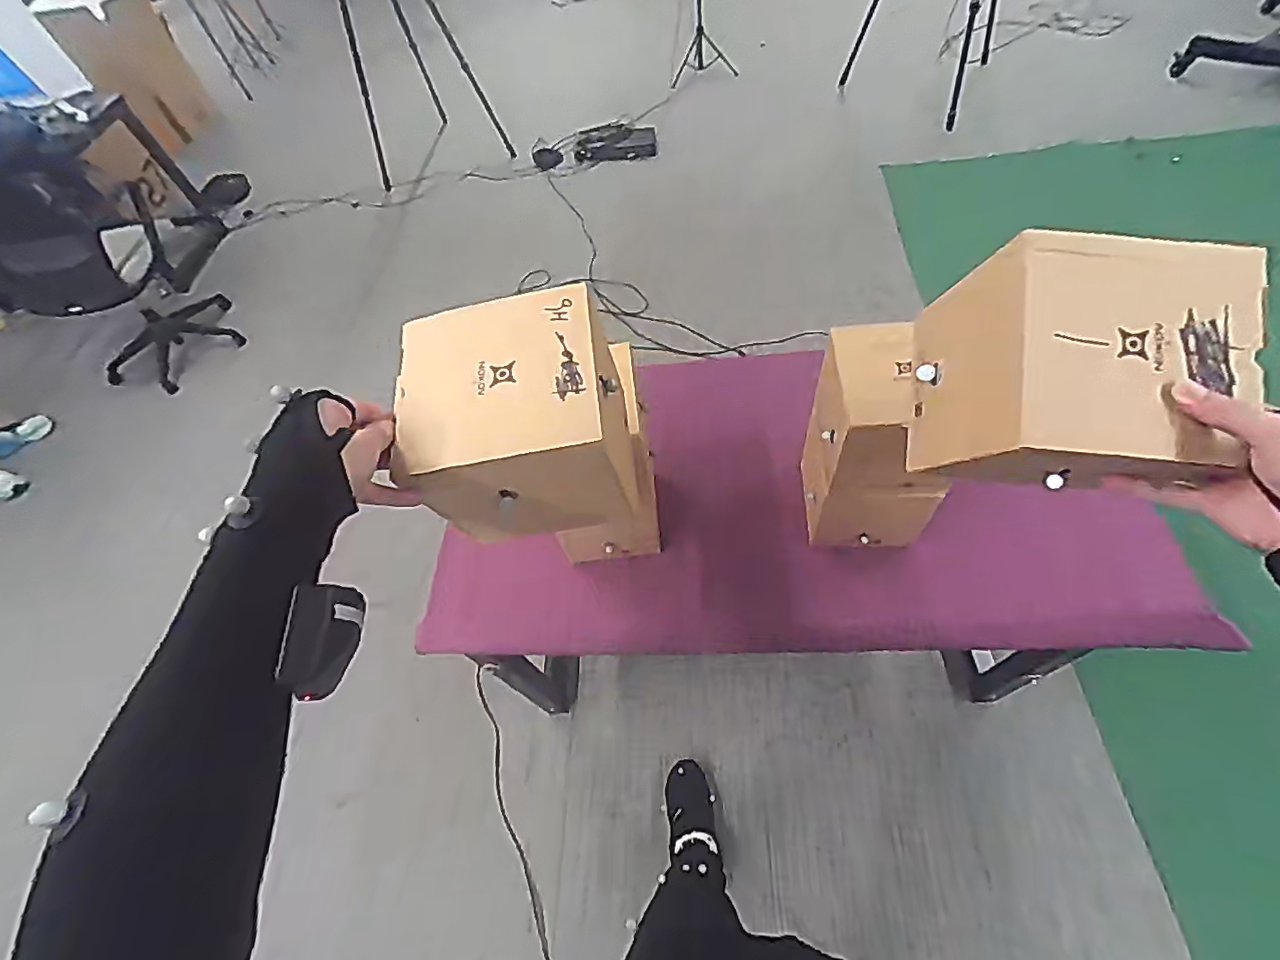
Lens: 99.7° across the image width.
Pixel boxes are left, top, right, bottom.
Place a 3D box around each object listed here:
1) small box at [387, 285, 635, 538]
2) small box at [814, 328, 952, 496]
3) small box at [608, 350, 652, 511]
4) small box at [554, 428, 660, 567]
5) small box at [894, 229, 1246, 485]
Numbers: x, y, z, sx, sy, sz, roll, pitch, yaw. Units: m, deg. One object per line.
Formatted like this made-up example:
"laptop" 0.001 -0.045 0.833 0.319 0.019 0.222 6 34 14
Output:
"small box" -0.113 -0.054 0.531 0.179 0.176 0.168 -11 63 7
"small box" 0.344 -0.088 0.753 0.168 0.176 0.179 -2 56 8
"small box" -0.078 -0.063 0.808 0.168 0.176 0.179 -9 56 3
"small box" -0.059 0.031 0.940 0.168 0.176 0.179 -7 56 5
"small box" 0.349 -0.089 0.470 0.179 0.176 0.168 5 83 2
